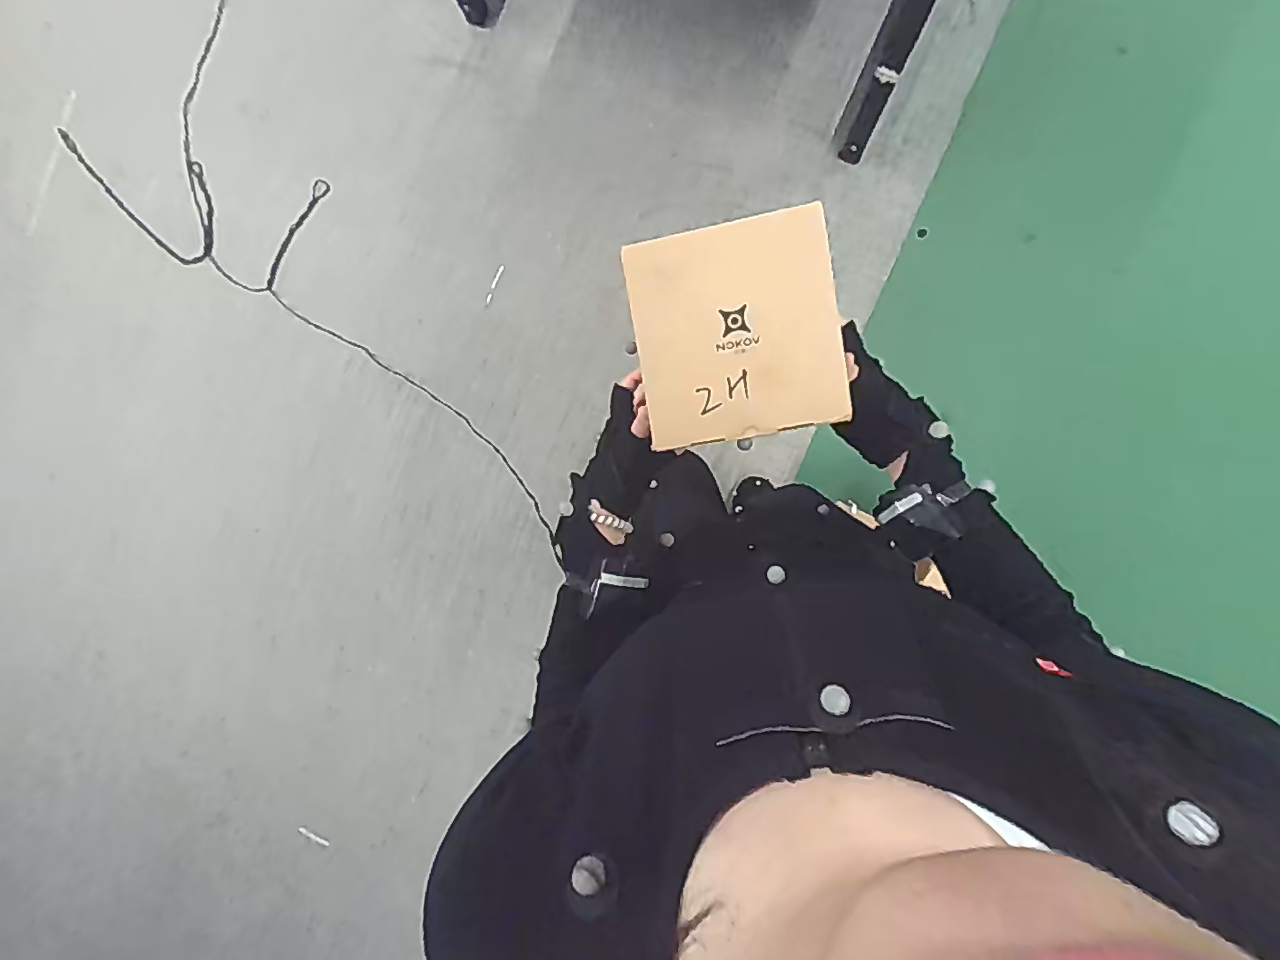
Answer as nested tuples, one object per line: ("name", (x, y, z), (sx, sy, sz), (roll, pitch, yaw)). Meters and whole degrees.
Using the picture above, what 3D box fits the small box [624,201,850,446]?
("small box", (0.087, -0.132, 0.521), (0.168, 0.176, 0.179), (-9, 95, 8))
